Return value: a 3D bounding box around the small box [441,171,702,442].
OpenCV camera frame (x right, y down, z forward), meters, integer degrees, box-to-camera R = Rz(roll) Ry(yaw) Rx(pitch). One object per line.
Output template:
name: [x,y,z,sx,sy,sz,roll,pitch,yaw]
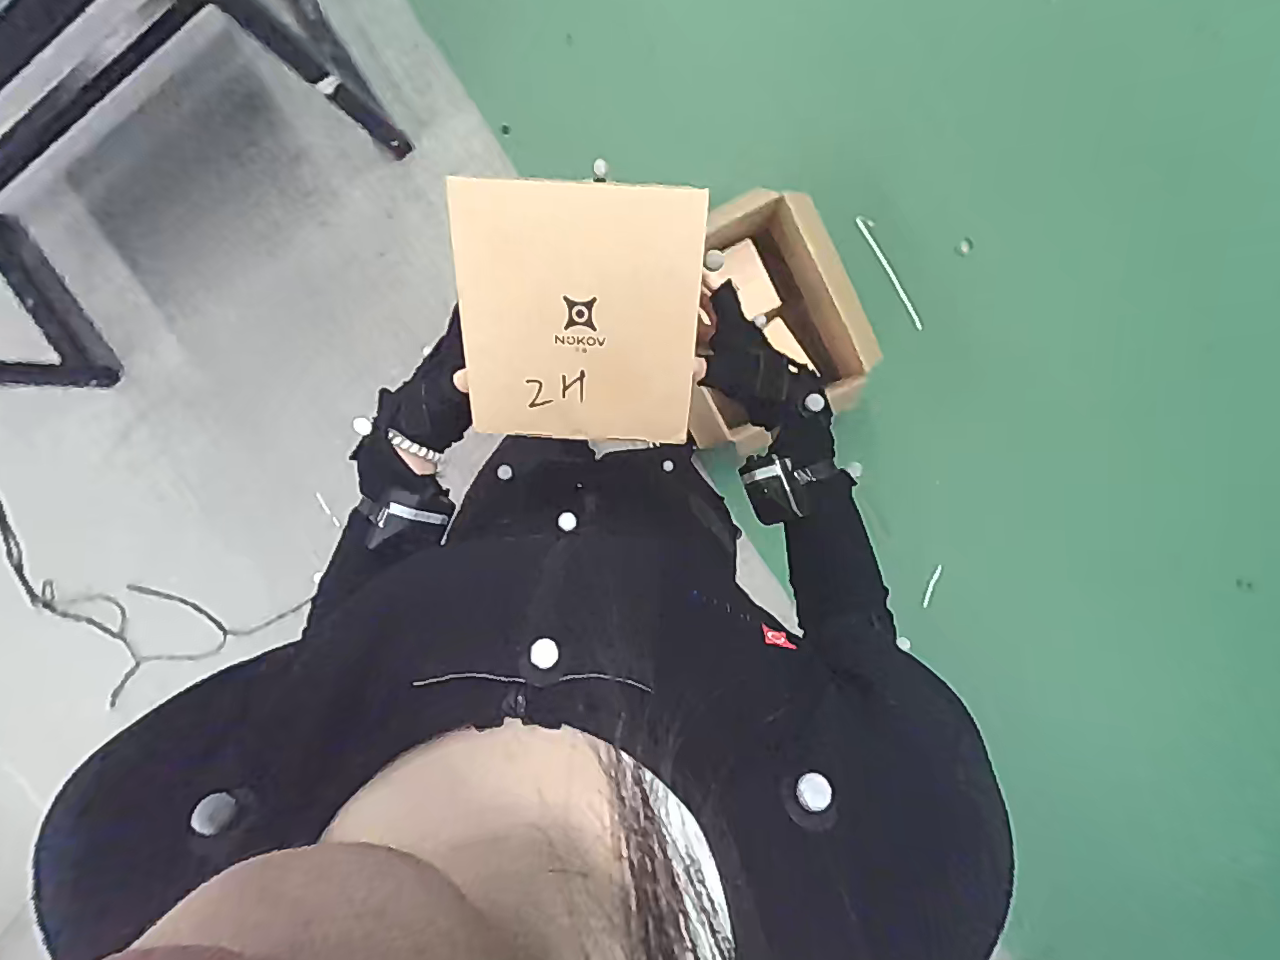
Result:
small box: [-0.046,-0.146,0.443,0.168,0.176,0.179,3,118,0]
